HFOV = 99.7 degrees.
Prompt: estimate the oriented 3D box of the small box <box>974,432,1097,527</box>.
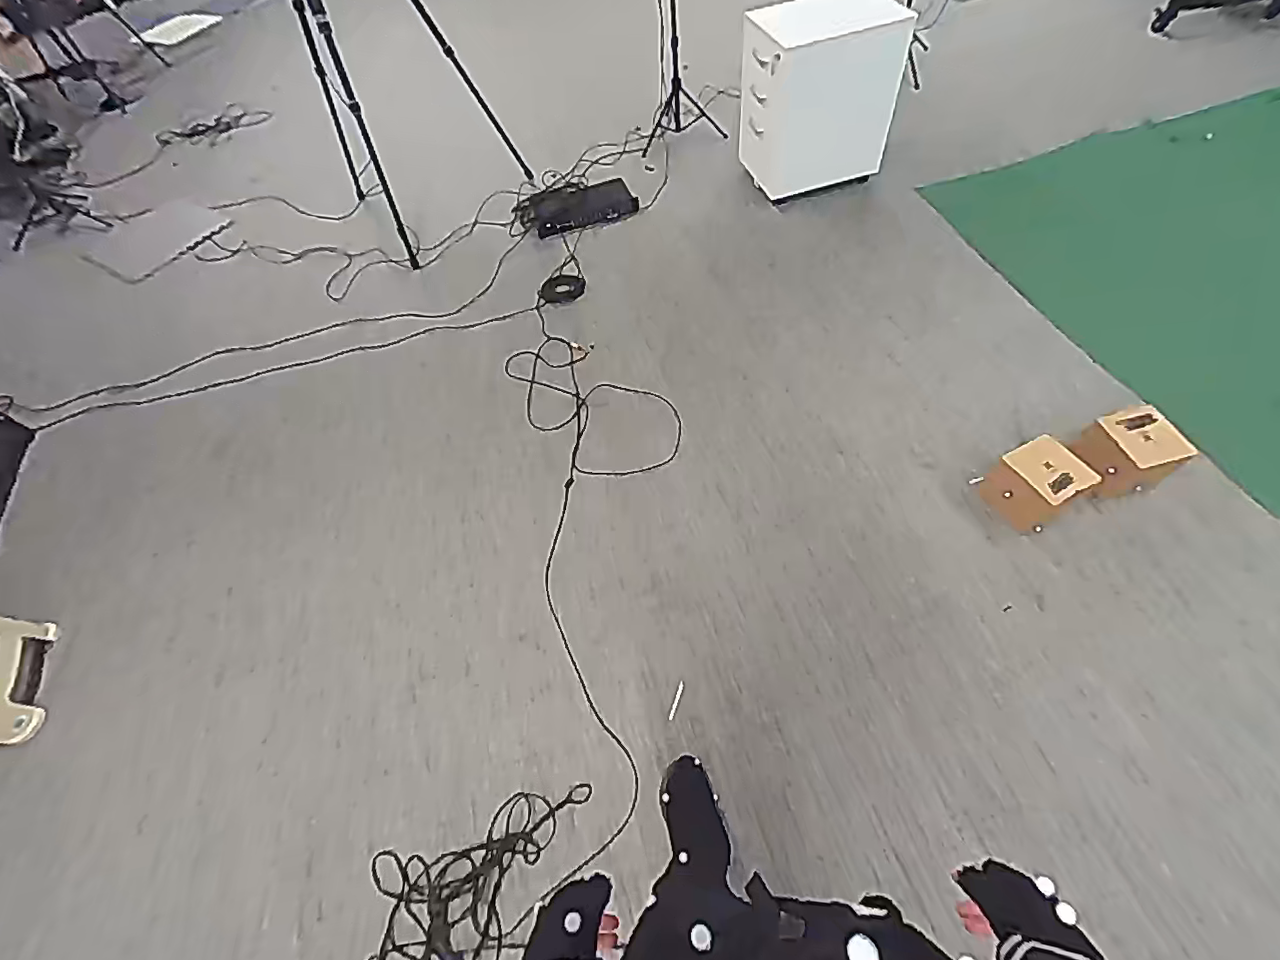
[{"bbox_3d":[1.066,0.007,1.474,0.168,0.176,0.179,-25,57,-9],"label":"small box"}]
